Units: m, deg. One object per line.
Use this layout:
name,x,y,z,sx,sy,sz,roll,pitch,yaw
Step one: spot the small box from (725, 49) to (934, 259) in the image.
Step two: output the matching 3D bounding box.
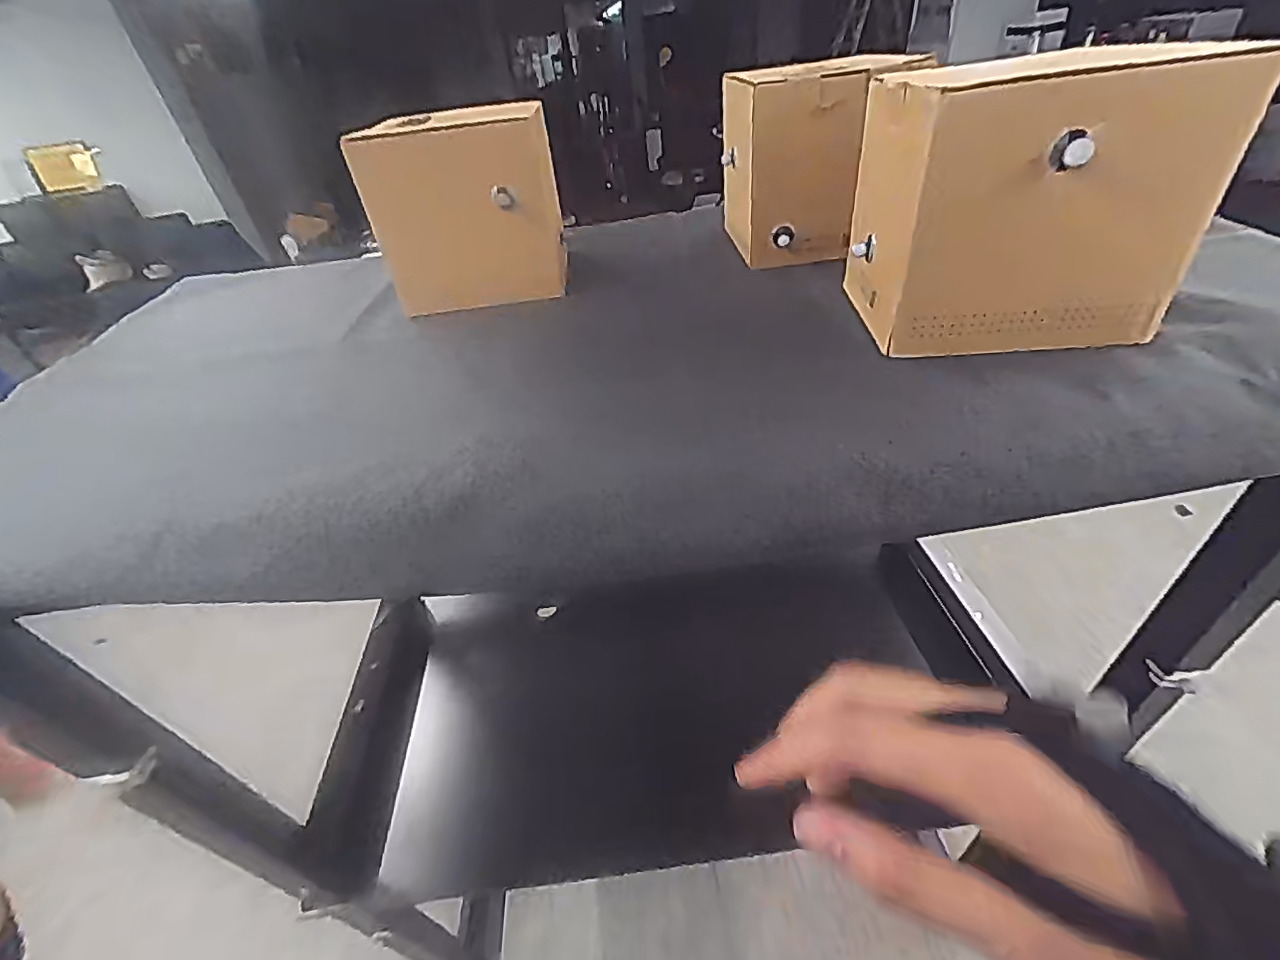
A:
small box,0.190,-0.353,0.596,0.168,0.176,0.179,-6,38,3

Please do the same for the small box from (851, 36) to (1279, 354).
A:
small box,0.269,-0.206,0.398,0.179,0.176,0.168,-2,37,9
